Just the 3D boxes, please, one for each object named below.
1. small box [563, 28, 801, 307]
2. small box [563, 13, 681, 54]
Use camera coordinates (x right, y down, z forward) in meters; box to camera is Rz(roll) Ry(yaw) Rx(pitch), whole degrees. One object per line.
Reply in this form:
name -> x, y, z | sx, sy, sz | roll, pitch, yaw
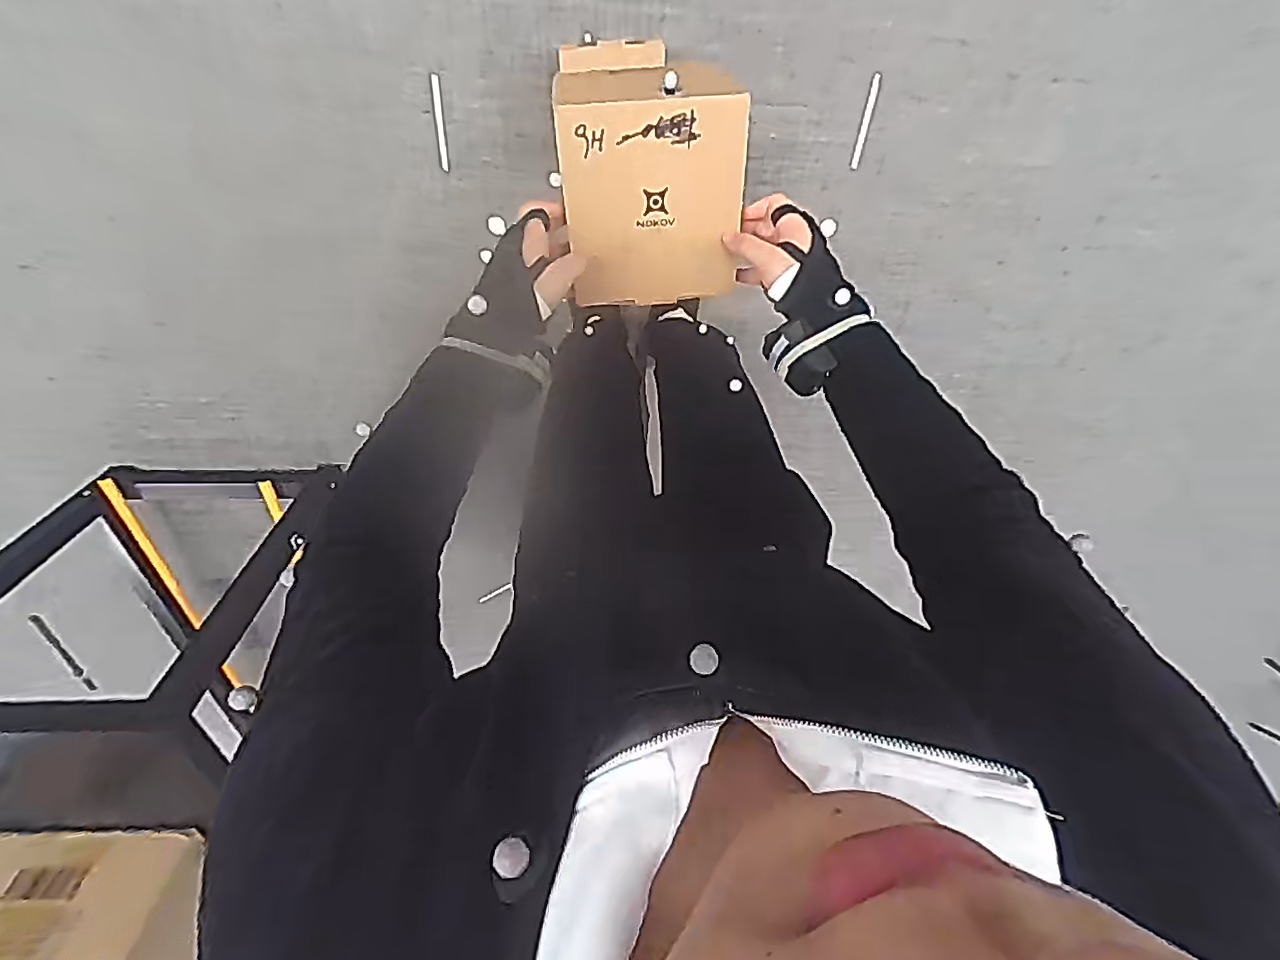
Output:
small box -> 0.025, -0.278, 0.482 | 0.168, 0.176, 0.179 | -6, 134, -3
small box -> -0.027, -0.606, 0.846 | 0.168, 0.176, 0.179 | -4, 128, 0
